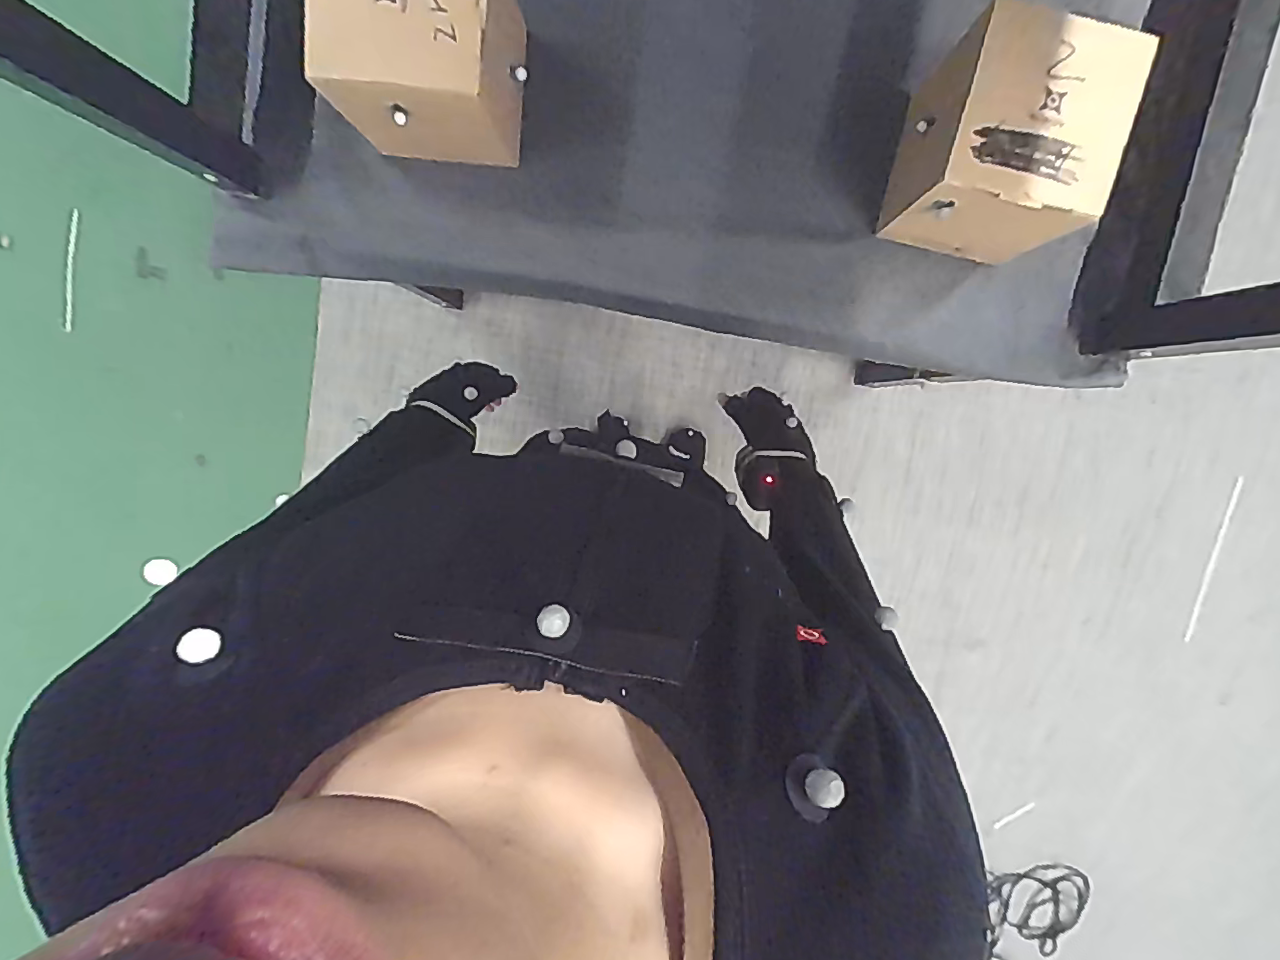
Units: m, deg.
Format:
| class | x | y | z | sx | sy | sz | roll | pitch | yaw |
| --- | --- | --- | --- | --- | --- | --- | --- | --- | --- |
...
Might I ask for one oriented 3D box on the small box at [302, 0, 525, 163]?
| class | x | y | z | sx | sy | sz | roll | pitch | yaw |
| --- | --- | --- | --- | --- | --- | --- | --- | --- | --- |
| small box | -0.238 | -0.480 | 0.602 | 0.179 | 0.176 | 0.168 | 6 | 98 | -1 |
